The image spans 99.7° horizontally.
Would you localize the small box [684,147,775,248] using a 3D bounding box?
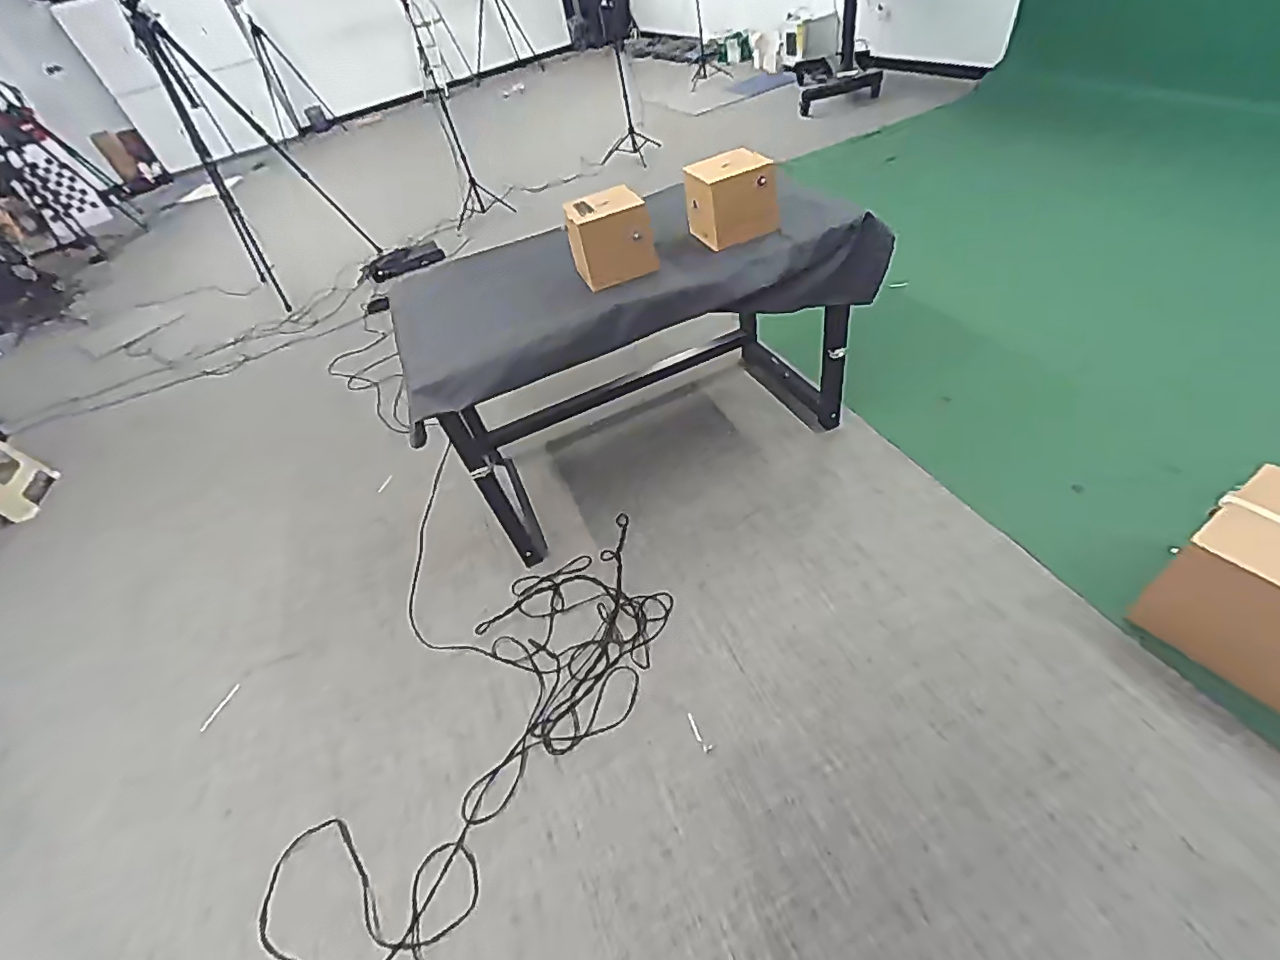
[{"bbox_3d":[0.233,-0.717,1.378,0.179,0.176,0.168,-22,45,-7],"label":"small box"}]
